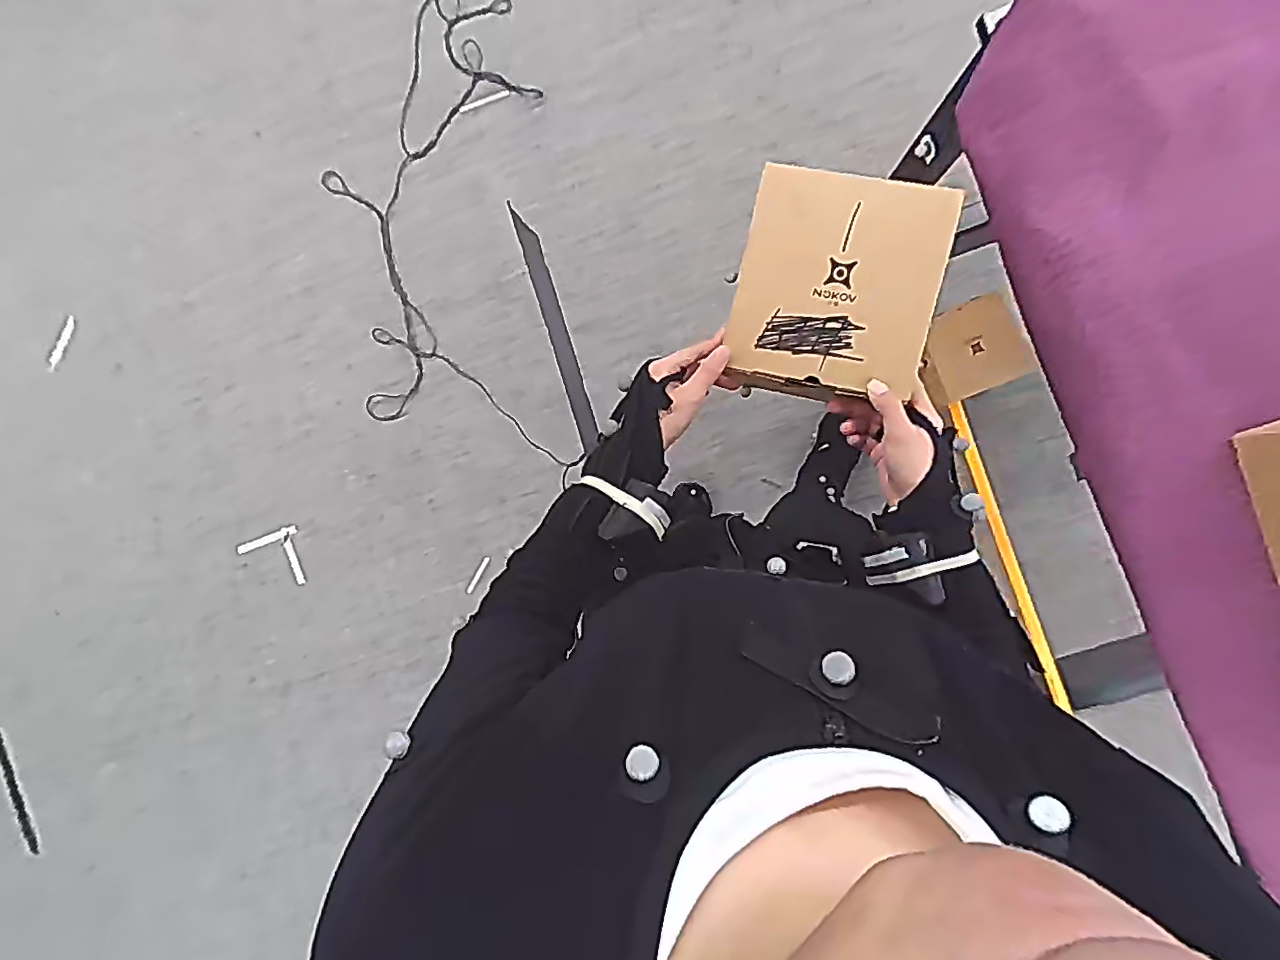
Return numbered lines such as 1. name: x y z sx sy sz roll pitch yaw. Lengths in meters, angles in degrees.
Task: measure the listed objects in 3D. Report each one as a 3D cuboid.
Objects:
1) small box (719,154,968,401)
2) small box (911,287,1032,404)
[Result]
1. small box: 0.178 -0.178 0.528 0.168 0.176 0.179 13 97 7
2. small box: 0.658 -0.267 1.128 0.168 0.176 0.179 -23 88 6
